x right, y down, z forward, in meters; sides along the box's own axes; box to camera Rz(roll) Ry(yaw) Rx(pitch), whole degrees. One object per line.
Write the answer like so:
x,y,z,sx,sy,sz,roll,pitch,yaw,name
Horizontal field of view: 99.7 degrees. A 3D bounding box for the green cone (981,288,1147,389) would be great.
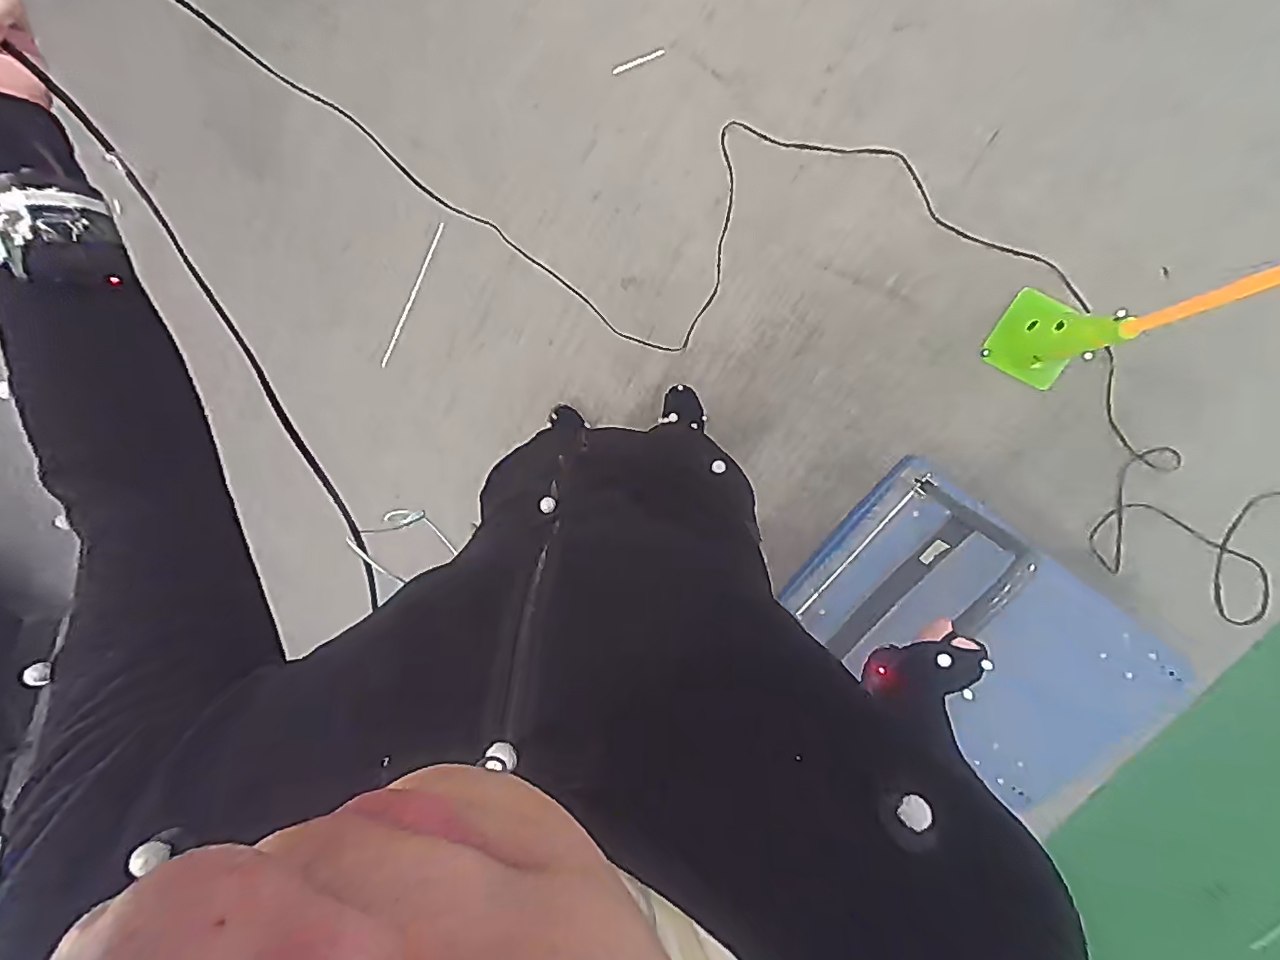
0.974,-0.327,1.201,0.200,0.368,0.202,28,104,3,green cone
